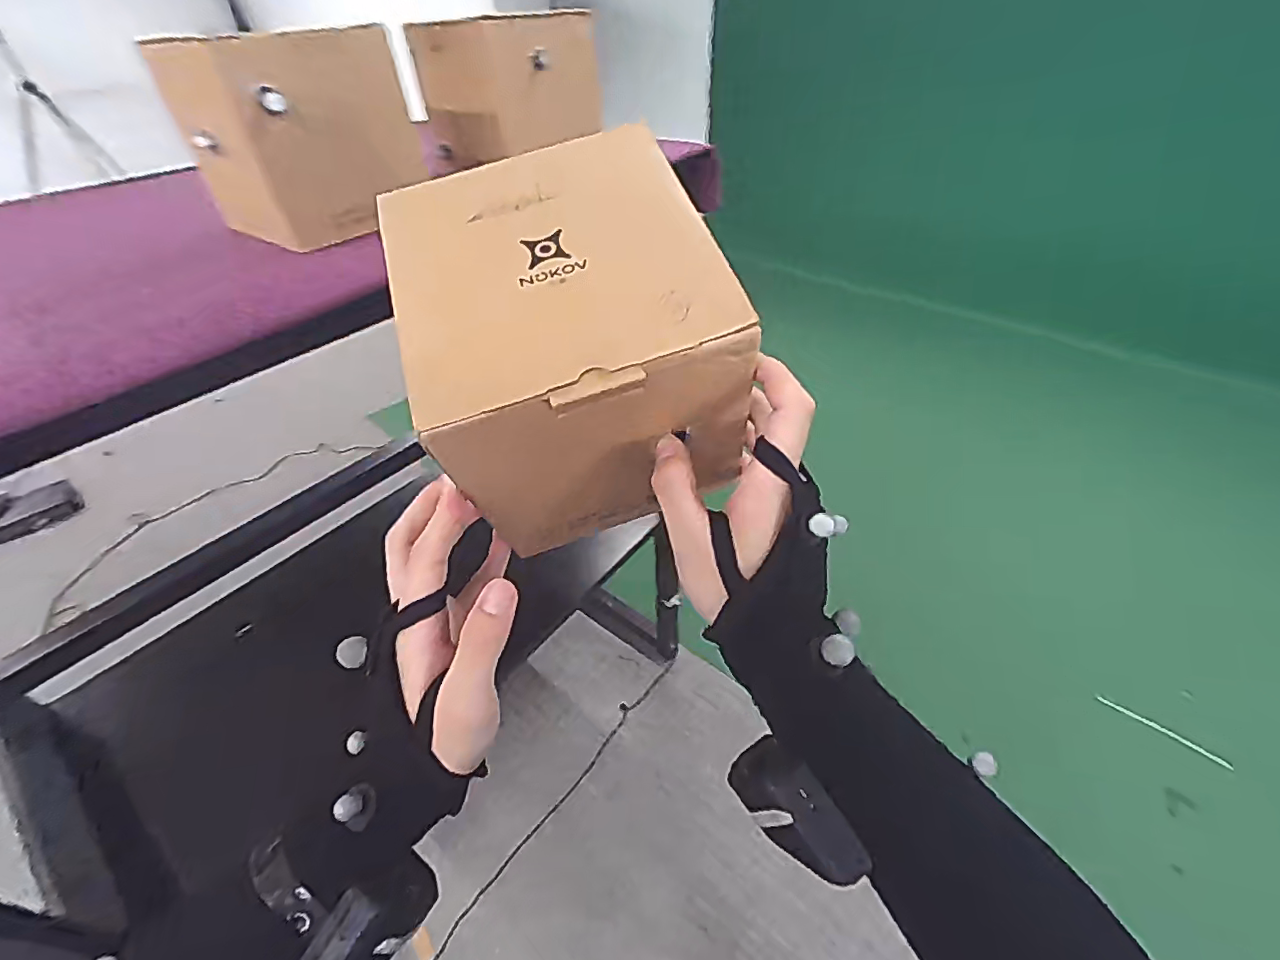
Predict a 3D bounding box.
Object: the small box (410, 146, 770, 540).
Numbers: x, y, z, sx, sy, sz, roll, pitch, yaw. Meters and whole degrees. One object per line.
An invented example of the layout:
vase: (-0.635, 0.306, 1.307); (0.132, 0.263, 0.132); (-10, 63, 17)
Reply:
small box: (-0.029, -0.075, 0.364); (0.168, 0.176, 0.179); (-18, 63, -4)

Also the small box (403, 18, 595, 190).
small box: (-0.177, -0.508, 0.734); (0.168, 0.176, 0.179); (27, 49, 29)
